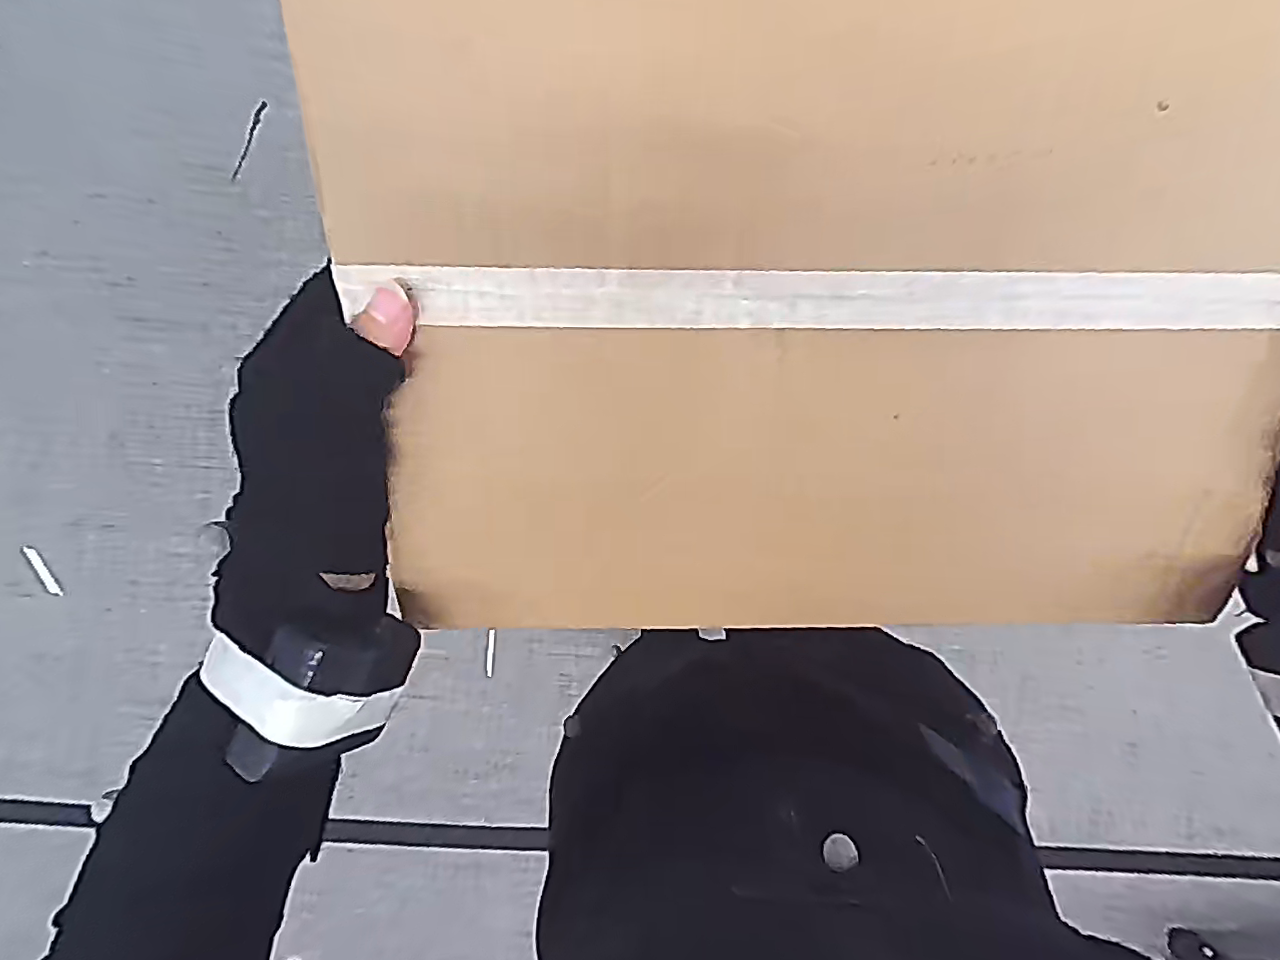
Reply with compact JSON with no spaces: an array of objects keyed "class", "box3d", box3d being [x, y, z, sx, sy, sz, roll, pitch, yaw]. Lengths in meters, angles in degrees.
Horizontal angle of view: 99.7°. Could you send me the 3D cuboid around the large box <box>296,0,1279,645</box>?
[{"class":"large box","box3d":[0.084,-0.117,0.359,0.408,0.320,0.320,0,112,-2]}]
